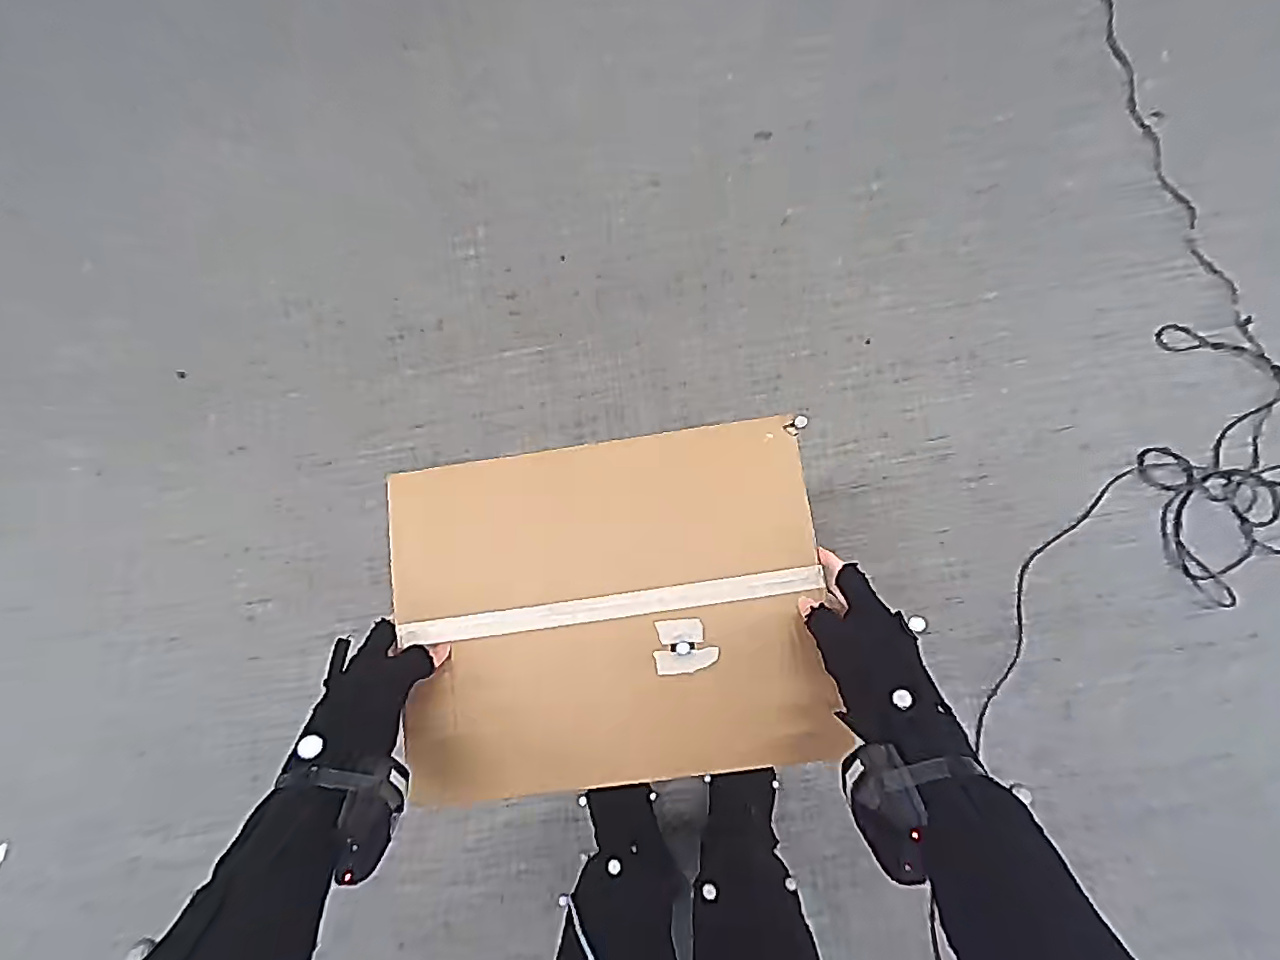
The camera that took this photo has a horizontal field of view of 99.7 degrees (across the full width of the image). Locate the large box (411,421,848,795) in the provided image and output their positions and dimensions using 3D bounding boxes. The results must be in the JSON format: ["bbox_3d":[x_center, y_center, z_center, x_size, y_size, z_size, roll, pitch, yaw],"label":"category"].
[{"bbox_3d":[-0.015,0.145,0.678,0.408,0.320,0.320,-9,81,3],"label":"large box"}]
